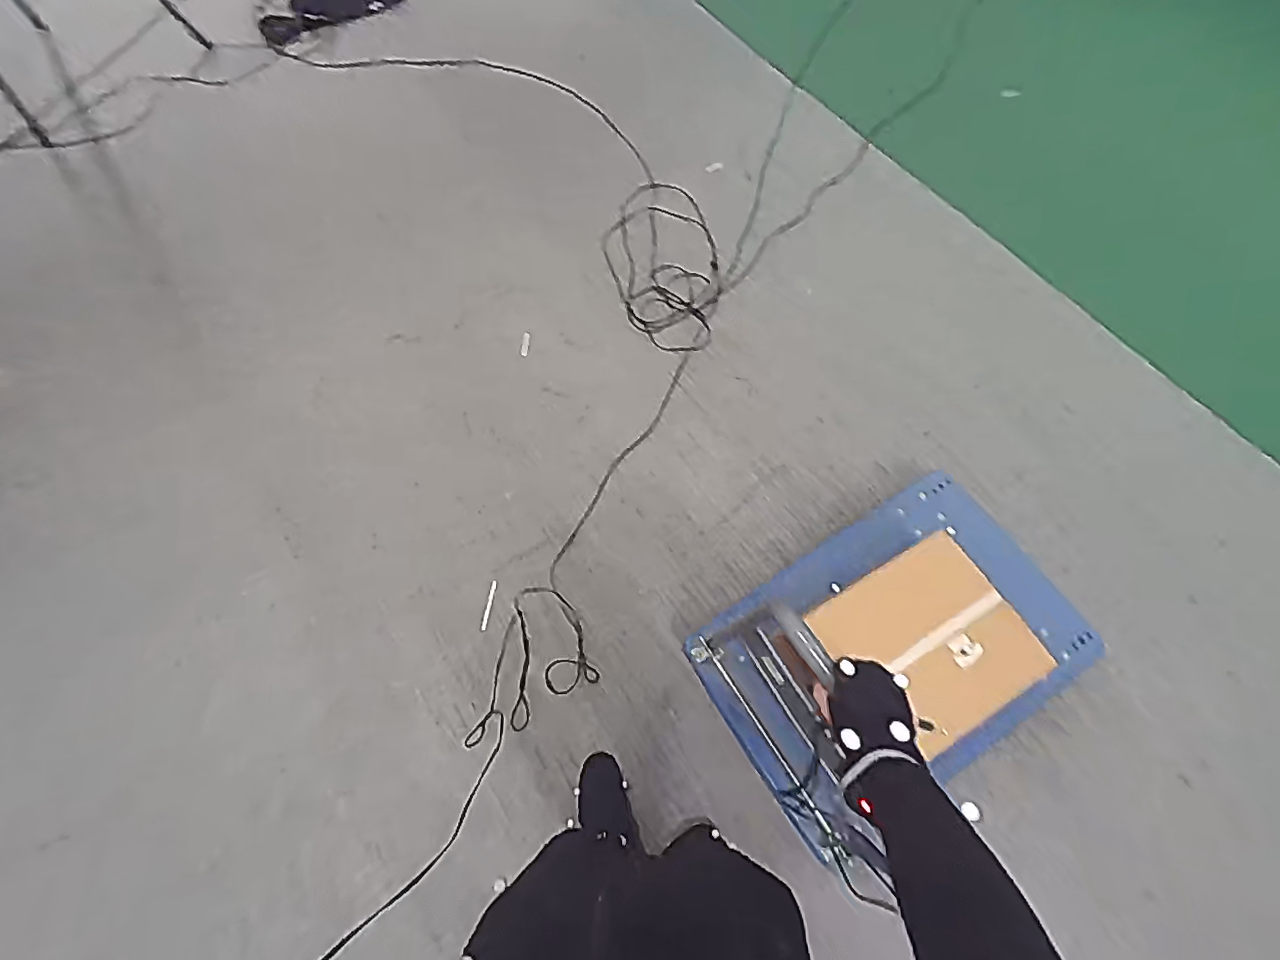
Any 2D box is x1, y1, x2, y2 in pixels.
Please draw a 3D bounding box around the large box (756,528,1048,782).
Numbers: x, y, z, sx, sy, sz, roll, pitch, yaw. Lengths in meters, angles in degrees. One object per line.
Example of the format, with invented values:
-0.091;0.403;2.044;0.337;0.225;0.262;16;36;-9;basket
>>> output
0.520;0.369;1.158;0.408;0.320;0.320;-29;72;-11;large box
